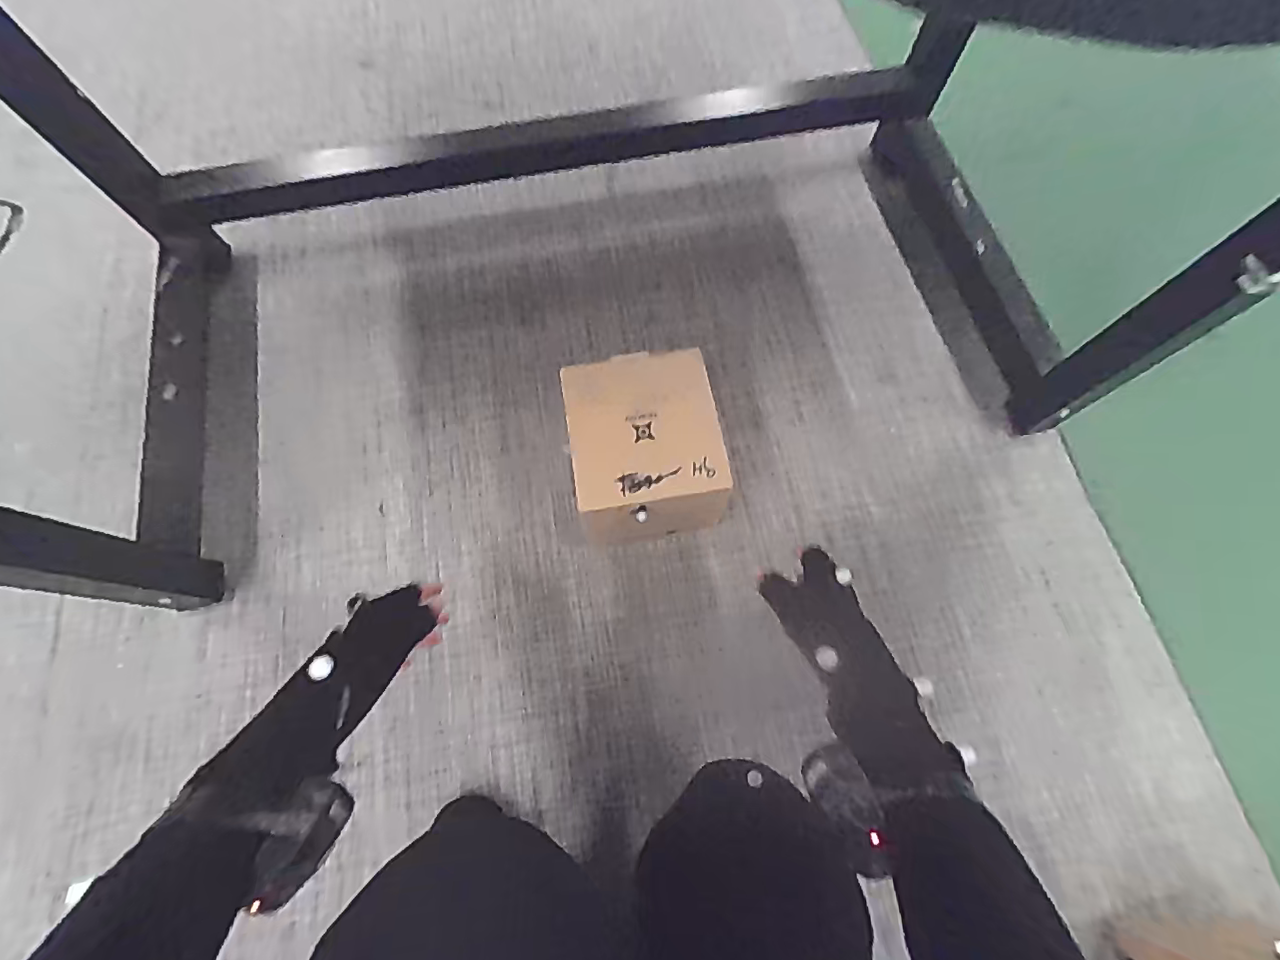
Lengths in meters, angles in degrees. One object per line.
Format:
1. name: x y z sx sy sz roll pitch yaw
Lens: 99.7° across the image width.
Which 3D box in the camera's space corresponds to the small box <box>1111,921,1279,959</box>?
1. small box: 0.566 0.517 0.470 0.179 0.176 0.168 1 70 -1
